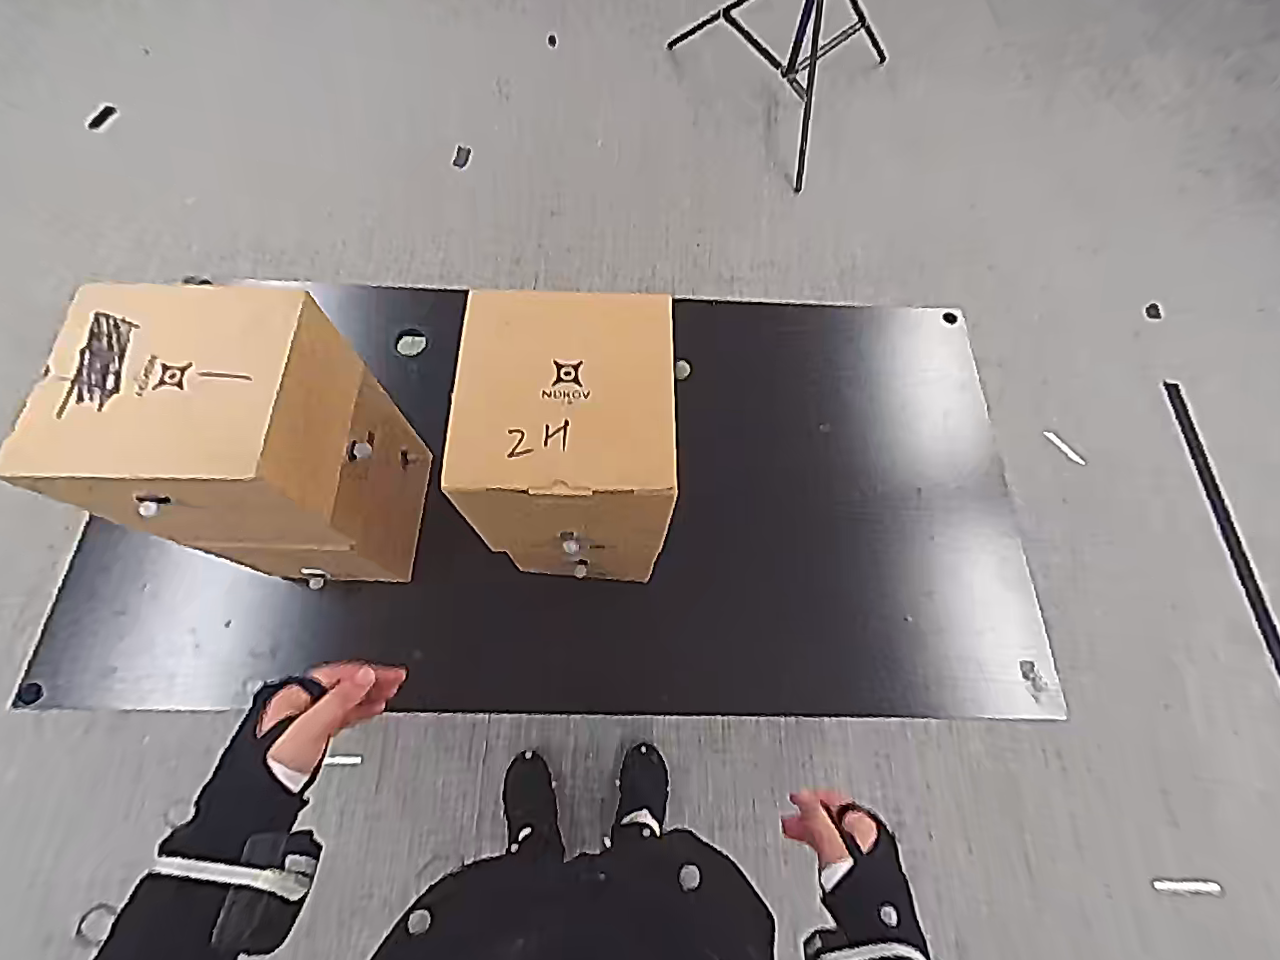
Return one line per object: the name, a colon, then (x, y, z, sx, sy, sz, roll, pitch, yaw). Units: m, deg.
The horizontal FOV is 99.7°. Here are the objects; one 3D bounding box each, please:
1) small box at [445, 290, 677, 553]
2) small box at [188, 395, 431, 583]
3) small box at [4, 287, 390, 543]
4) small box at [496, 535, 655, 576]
small box: (-0.058, -0.042, 0.485, 0.168, 0.176, 0.179, 1, 68, -2)
small box: (-0.357, 0.015, 0.627, 0.168, 0.176, 0.179, 1, 69, -1)
small box: (-0.350, -0.045, 0.474, 0.179, 0.176, 0.168, 1, 68, -3)
small box: (-0.059, 0.011, 0.643, 0.168, 0.176, 0.179, 5, 68, -1)
